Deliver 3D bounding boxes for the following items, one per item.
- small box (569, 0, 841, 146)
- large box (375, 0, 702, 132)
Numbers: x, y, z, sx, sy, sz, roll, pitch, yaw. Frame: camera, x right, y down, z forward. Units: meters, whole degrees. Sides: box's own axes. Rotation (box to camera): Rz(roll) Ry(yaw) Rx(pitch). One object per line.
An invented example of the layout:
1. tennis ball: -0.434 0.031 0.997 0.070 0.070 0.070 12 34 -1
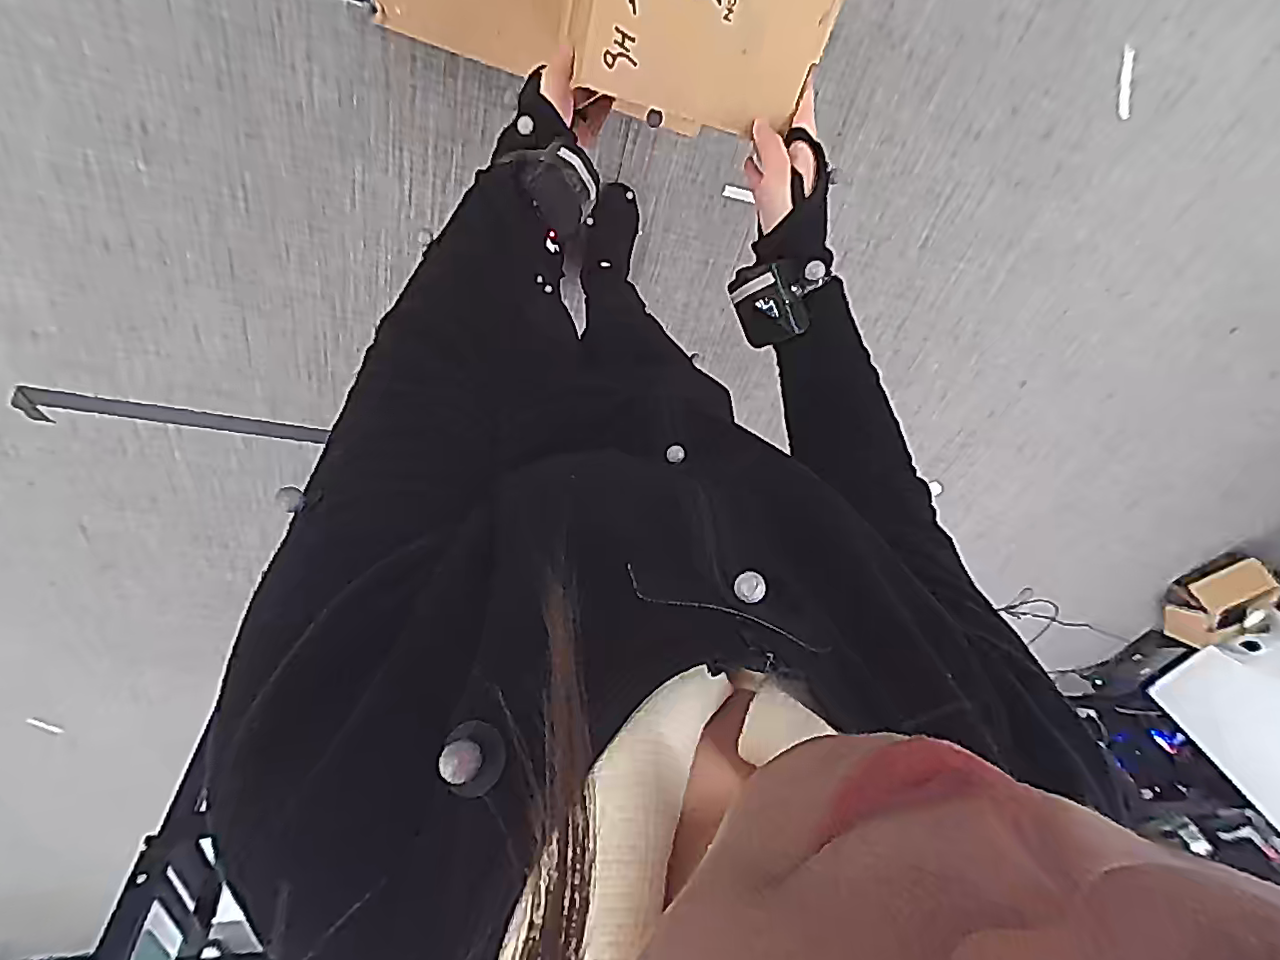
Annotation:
1. small box: 0.047 -0.397 0.435 0.179 0.176 0.168 6 126 -17
2. large box: -0.088 -0.698 0.695 0.408 0.320 0.320 8 125 -17
